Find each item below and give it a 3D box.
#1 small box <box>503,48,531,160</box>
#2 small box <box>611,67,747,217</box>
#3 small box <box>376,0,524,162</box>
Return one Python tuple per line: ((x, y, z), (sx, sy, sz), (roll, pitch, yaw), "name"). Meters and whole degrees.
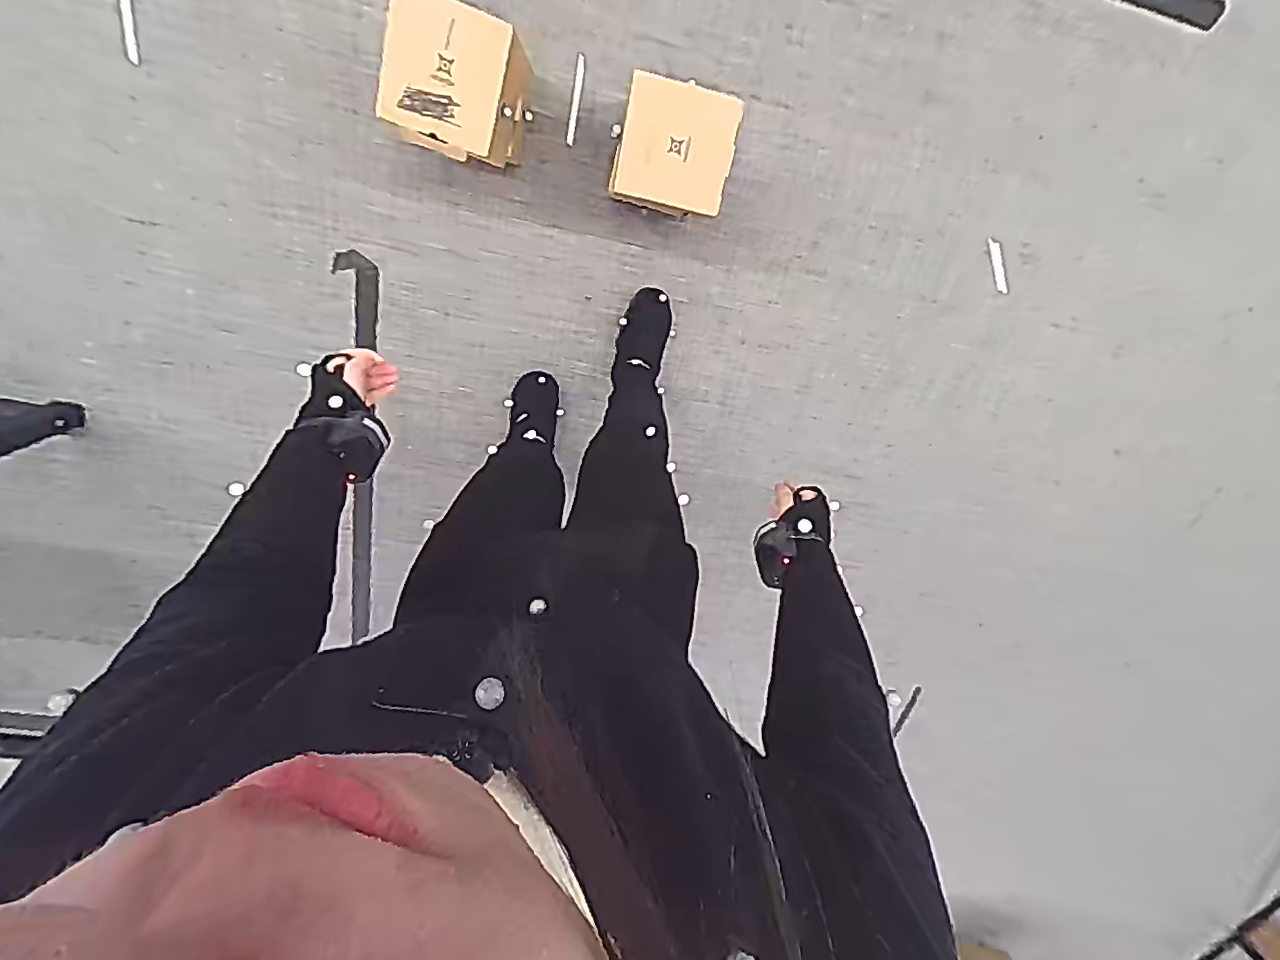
((-0.300, -0.697, 0.982), (0.179, 0.176, 0.168), (11, 115, -11), "small box")
((0.054, -0.549, 0.901), (0.179, 0.176, 0.168), (10, 114, -9), "small box")
((-0.284, -0.618, 0.837), (0.168, 0.176, 0.179), (16, 113, -12), "small box")
